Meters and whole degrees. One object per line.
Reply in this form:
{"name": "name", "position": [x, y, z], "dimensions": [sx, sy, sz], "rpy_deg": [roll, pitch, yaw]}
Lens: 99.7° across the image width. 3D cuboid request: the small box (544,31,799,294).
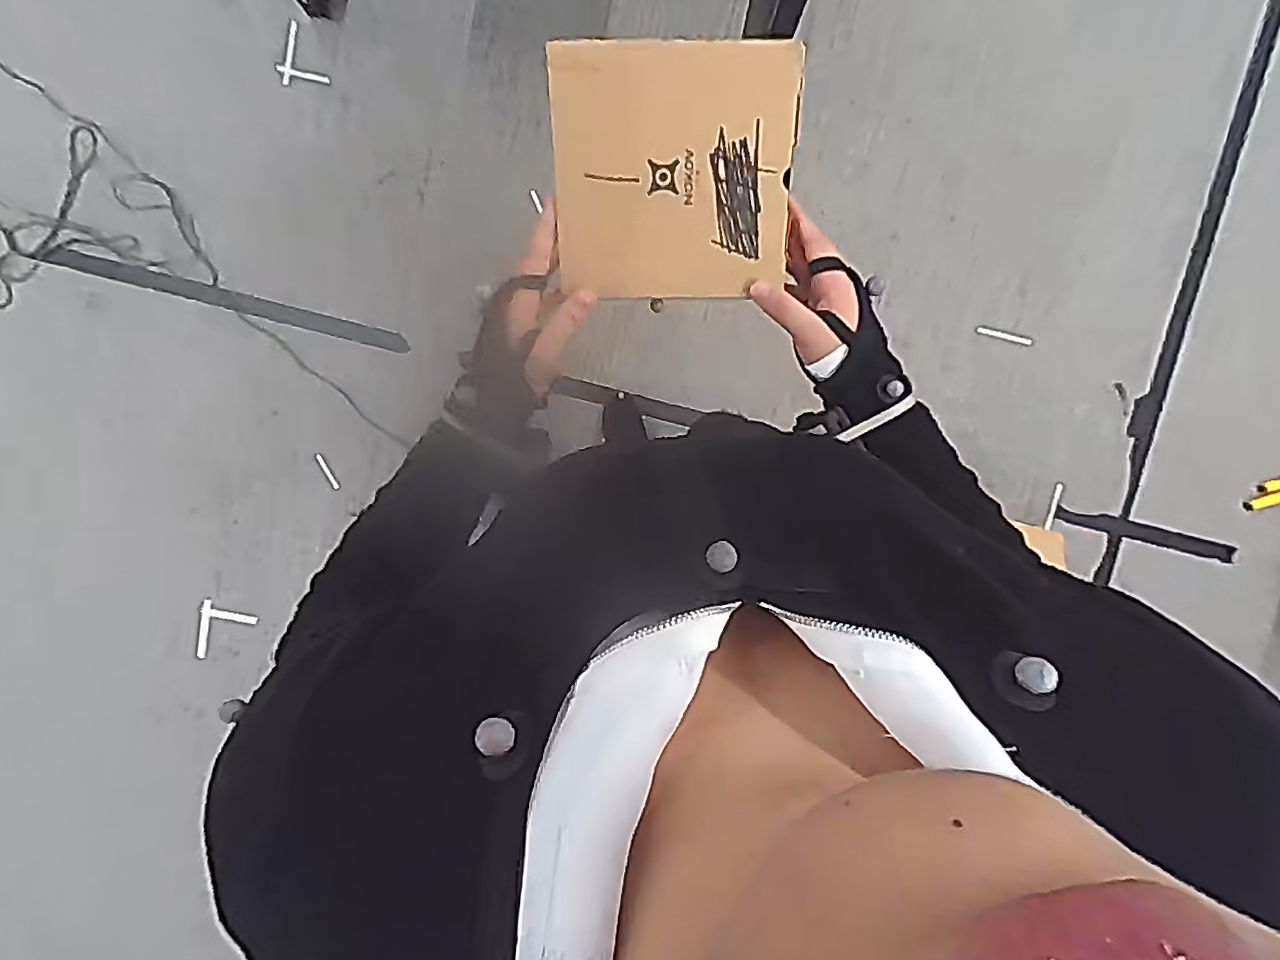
{"name": "small box", "position": [0.018, -0.253, 0.466], "dimensions": [0.179, 0.176, 0.168], "rpy_deg": [0, 111, -1]}
